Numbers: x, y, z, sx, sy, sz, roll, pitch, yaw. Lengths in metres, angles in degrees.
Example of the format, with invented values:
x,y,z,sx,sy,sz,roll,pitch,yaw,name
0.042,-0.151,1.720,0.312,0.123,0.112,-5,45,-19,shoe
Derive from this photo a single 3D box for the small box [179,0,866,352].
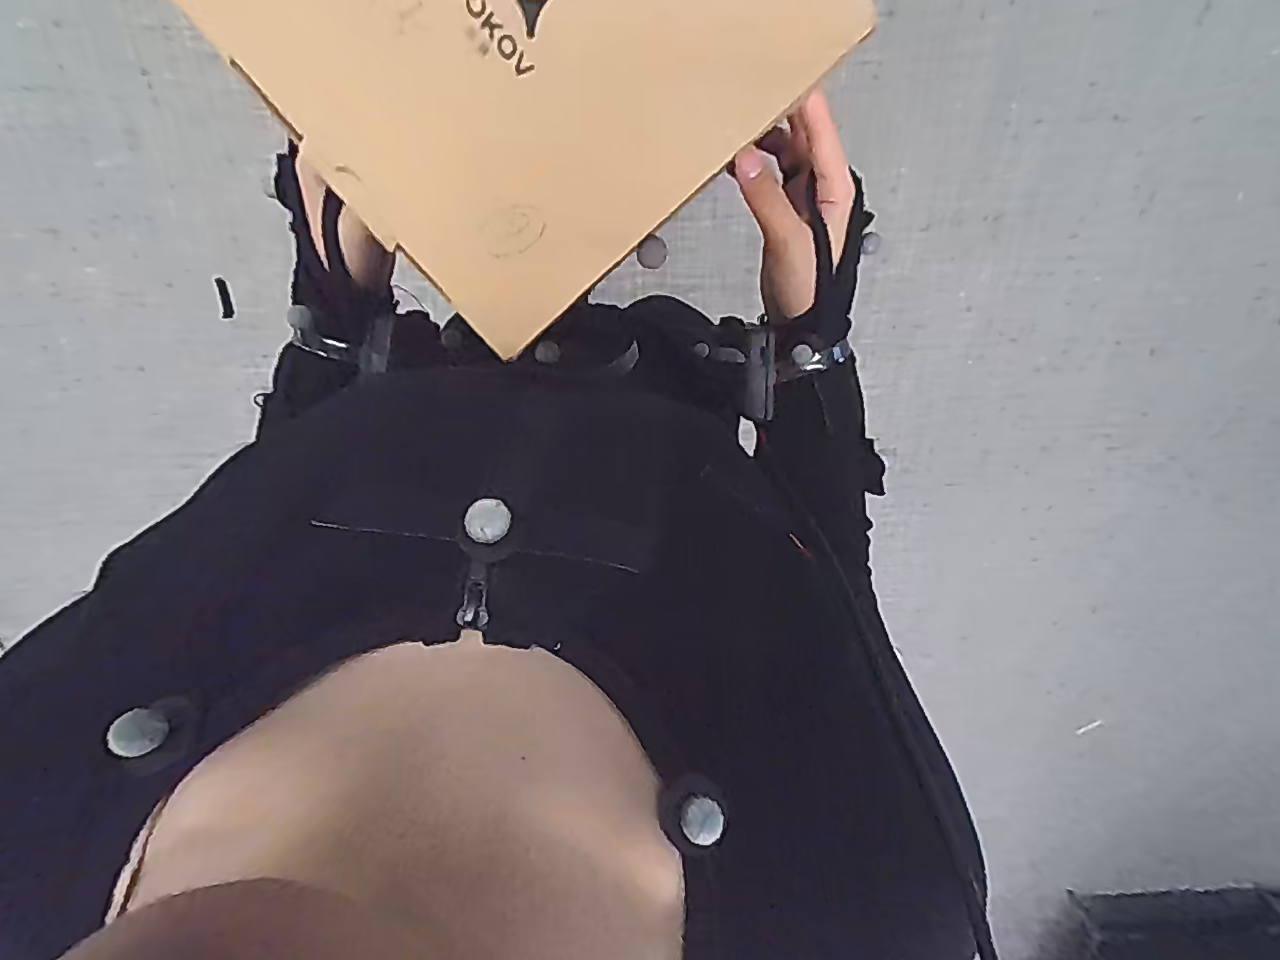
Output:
x,y,z,sx,sy,sz,roll,pitch,yaw,name
-0.037,-0.189,0.248,0.179,0.176,0.168,-36,108,18,small box
